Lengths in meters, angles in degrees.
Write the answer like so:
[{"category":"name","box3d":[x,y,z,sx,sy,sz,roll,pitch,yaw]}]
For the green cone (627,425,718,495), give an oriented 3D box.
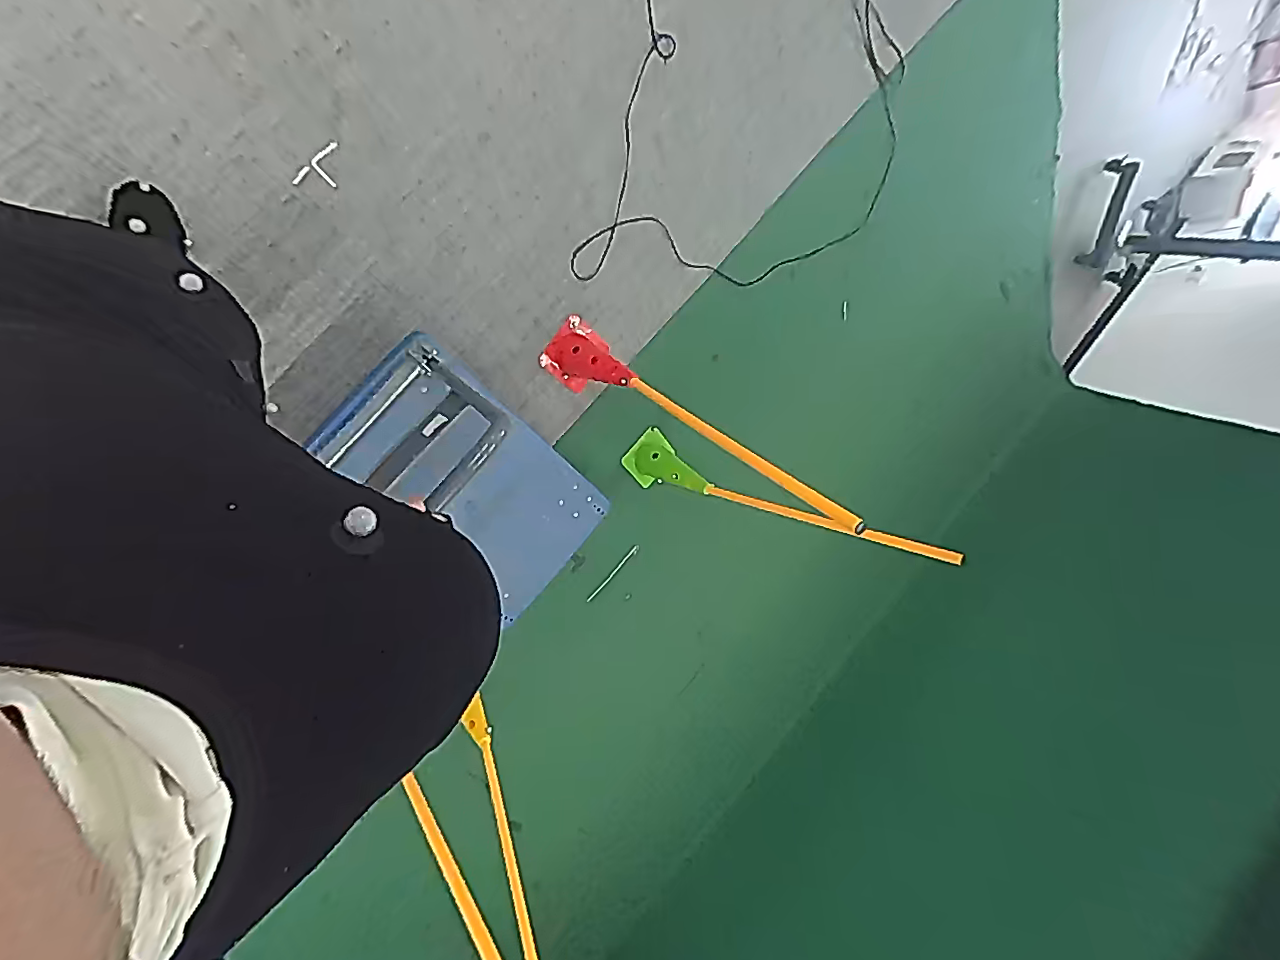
[{"category":"green cone","box3d":[0.151,-0.030,2.019,0.200,0.368,0.202,-50,134,-7]}]
